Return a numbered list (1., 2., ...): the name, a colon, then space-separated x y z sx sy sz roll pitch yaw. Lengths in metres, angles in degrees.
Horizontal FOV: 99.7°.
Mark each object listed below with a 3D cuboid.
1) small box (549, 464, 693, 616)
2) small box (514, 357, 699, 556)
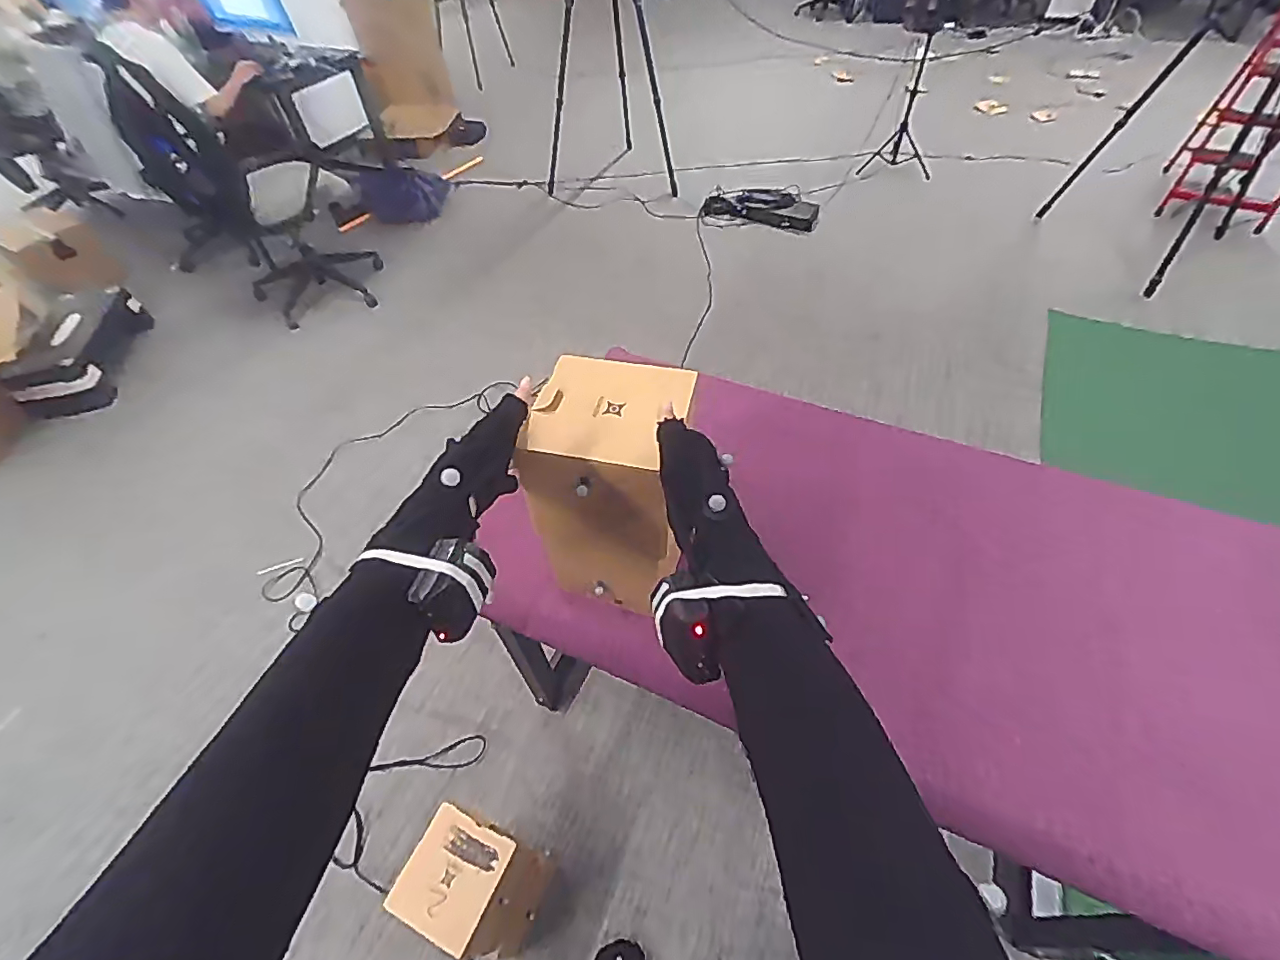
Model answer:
1. small box: -0.028 0.071 0.805 0.168 0.176 0.179 15 51 13
2. small box: -0.031 -0.025 0.671 0.179 0.176 0.168 10 51 10
